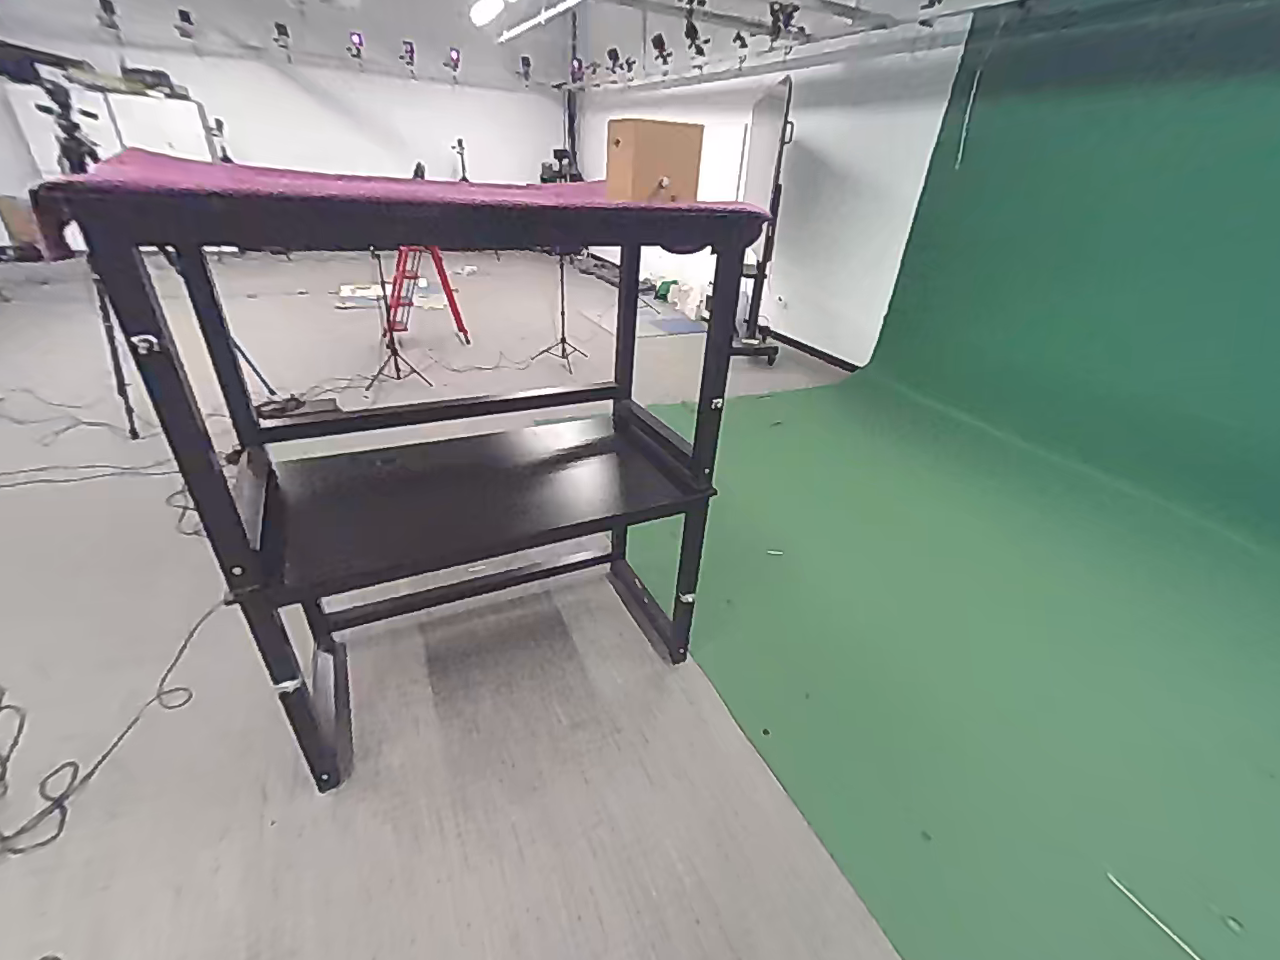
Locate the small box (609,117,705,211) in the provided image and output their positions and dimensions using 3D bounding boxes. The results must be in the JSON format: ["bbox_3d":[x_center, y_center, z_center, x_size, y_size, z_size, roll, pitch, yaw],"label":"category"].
[{"bbox_3d":[0.030,-0.719,1.237,0.168,0.176,0.179,-9,34,-19],"label":"small box"}]
